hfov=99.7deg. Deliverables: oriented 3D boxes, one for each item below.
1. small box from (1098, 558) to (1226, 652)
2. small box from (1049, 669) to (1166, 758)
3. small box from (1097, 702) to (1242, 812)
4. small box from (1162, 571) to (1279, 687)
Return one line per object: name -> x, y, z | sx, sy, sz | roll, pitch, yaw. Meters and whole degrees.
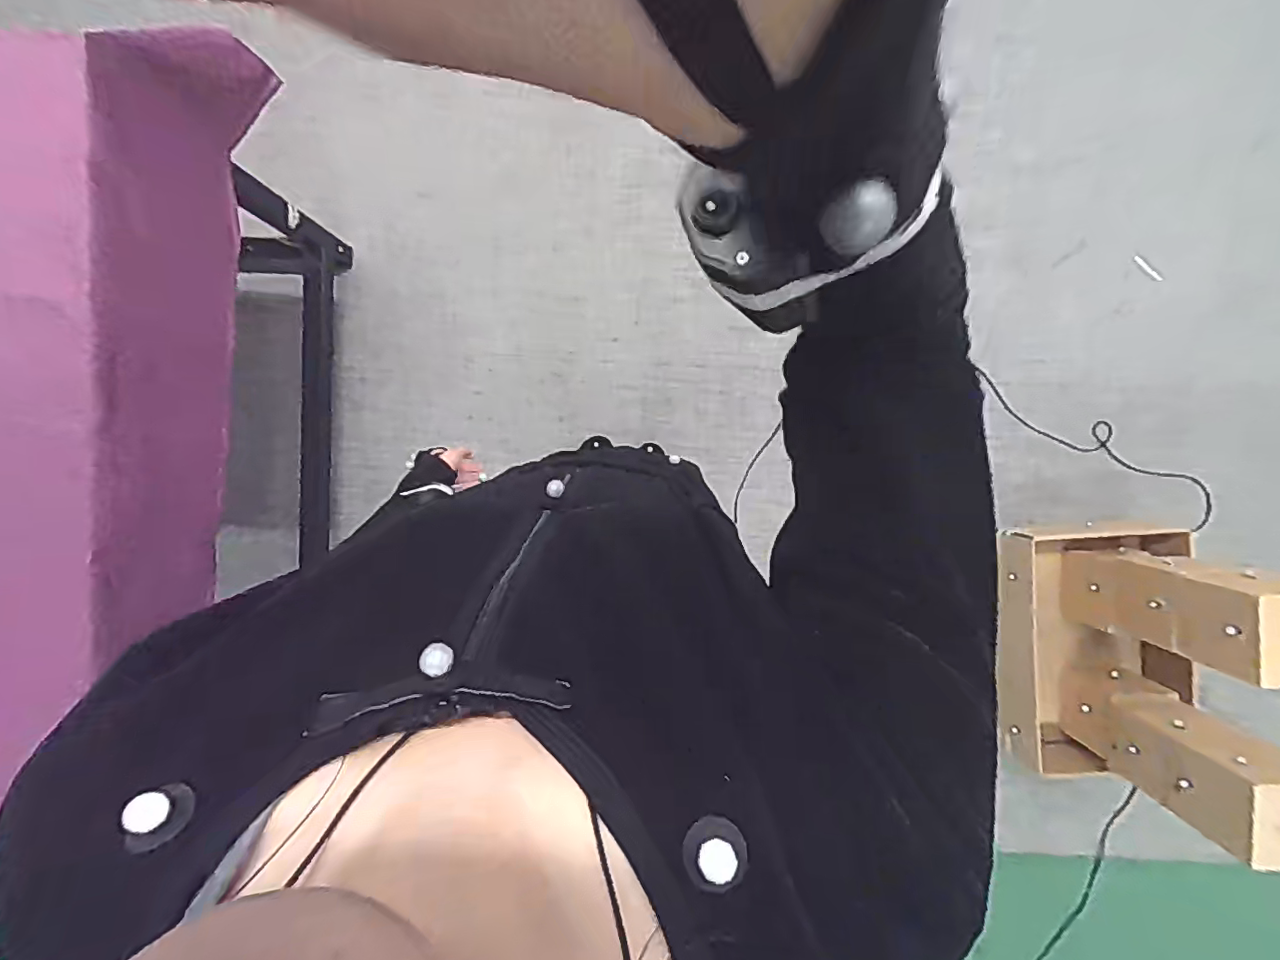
small box -> 1.189, 0.277, 1.225 | 0.168, 0.176, 0.179 | 1, 94, 2
small box -> 1.203, 0.604, 1.403 | 0.168, 0.176, 0.179 | 0, 92, 1
small box -> 1.200, 0.626, 1.239 | 0.179, 0.176, 0.168 | 0, 93, 0
small box -> 1.186, 0.286, 1.063 | 0.168, 0.176, 0.179 | -4, 92, 3
